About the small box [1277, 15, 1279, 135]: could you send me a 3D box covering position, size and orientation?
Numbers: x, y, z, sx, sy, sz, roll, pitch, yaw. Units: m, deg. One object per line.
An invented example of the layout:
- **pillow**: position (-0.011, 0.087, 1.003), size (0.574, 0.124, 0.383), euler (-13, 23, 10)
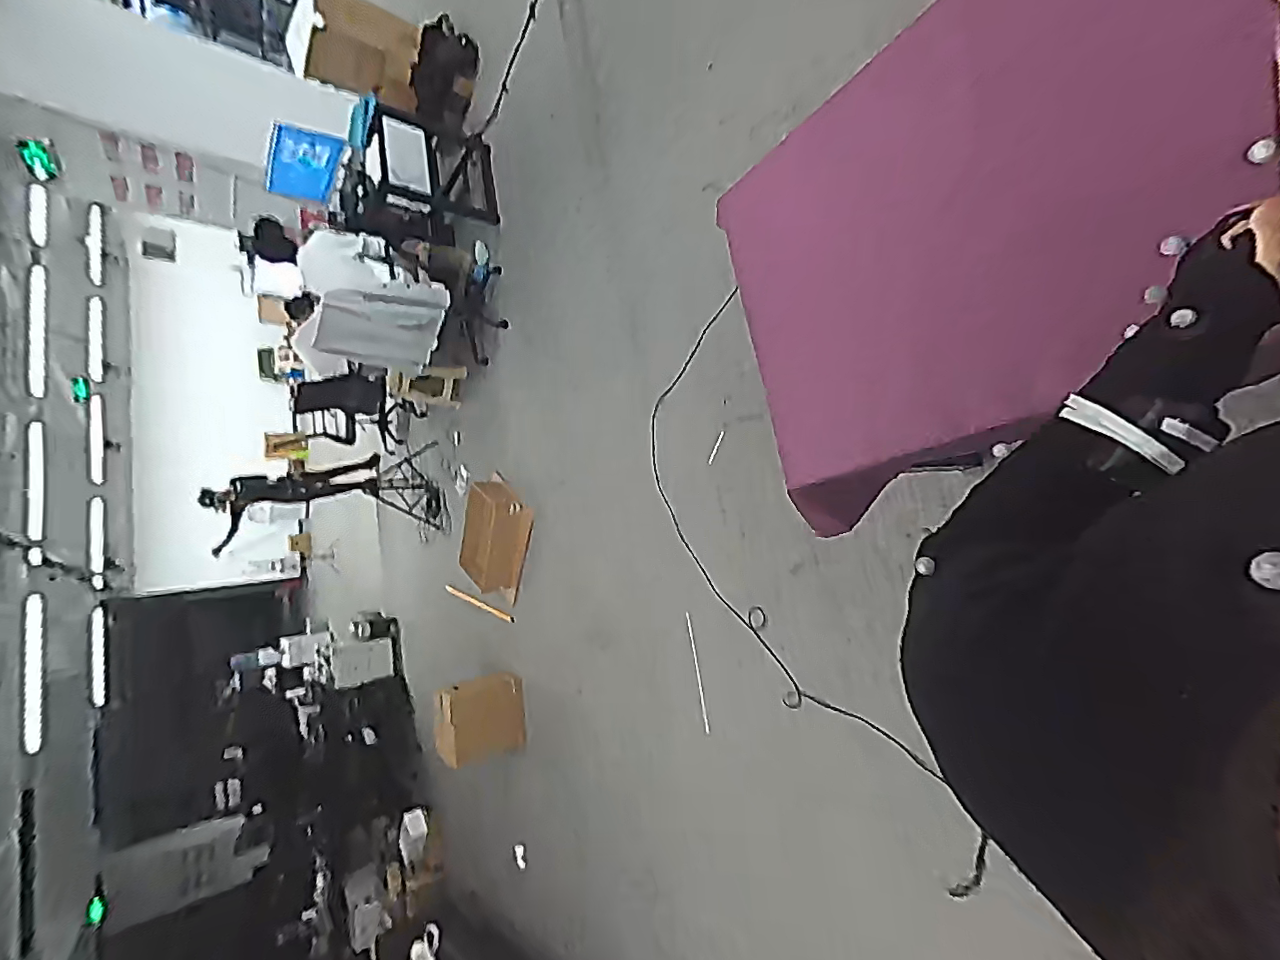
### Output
- **small box**: position (0.467, -0.224, 0.279), size (0.179, 0.176, 0.168), euler (-1, 100, 51)
